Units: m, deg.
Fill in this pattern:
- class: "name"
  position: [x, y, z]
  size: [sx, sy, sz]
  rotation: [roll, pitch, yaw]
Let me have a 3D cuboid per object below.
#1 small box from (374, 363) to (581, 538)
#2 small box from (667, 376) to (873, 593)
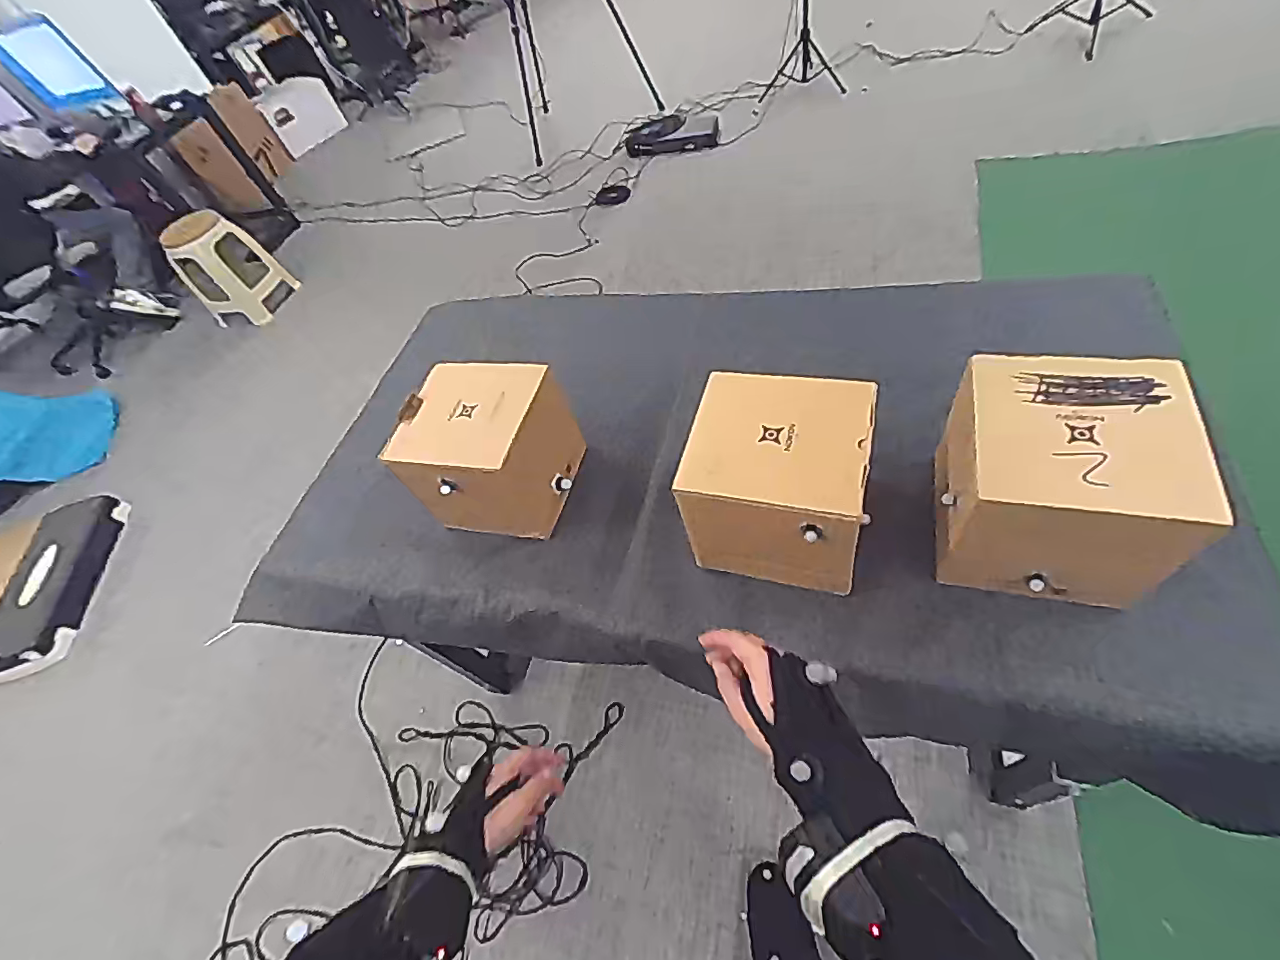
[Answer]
- class: "small box"
  position: [-0.202, -0.037, 0.723]
  size: [0.179, 0.176, 0.168]
  rotation: [5, 57, 18]
- class: "small box"
  position: [0.147, 0.007, 0.597]
  size: [0.179, 0.176, 0.168]
  rotation: [9, 56, 20]
